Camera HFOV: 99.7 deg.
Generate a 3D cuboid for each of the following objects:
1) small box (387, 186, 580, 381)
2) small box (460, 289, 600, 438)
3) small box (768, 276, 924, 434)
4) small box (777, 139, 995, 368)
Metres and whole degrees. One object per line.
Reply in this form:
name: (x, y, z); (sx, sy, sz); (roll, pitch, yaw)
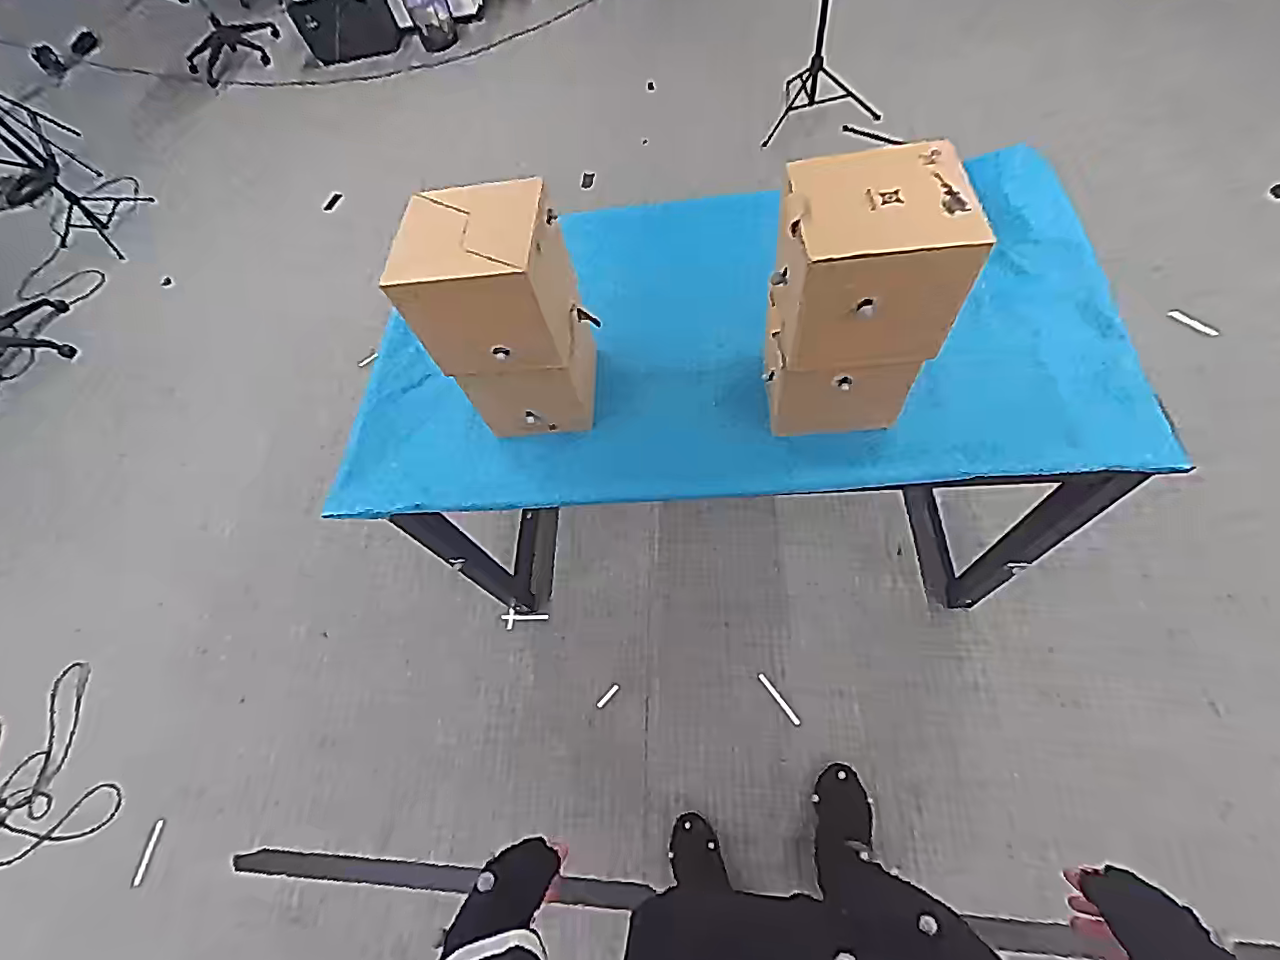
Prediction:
small box: (-0.189, -0.251, 0.703); (0.179, 0.176, 0.168); (-2, 62, 9)
small box: (-0.165, -0.184, 0.855); (0.168, 0.176, 0.179); (-2, 64, 11)
small box: (0.277, -0.177, 0.767); (0.179, 0.176, 0.168); (-3, 62, 9)
small box: (0.257, -0.247, 0.621); (0.179, 0.176, 0.168); (-6, 61, 6)
